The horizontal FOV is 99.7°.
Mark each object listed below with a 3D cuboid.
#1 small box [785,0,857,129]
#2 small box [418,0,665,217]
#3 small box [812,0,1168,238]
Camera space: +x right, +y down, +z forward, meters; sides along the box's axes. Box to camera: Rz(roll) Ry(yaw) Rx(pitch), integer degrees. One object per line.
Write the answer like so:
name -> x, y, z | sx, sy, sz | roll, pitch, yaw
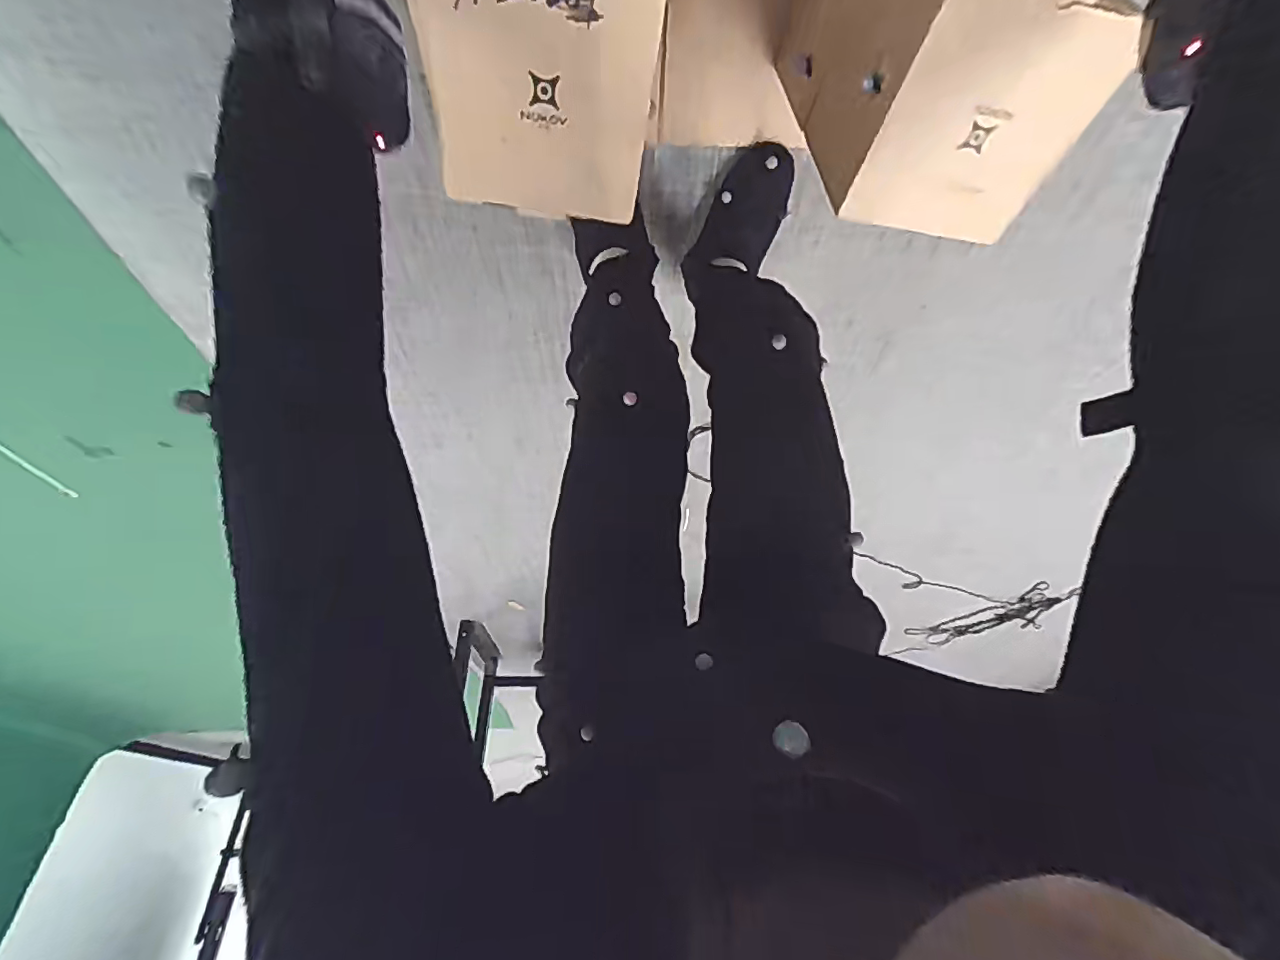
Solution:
small box -> 0.262, -0.486, 0.562 | 0.168, 0.176, 0.179 | 3, 145, -8
small box -> -0.077, -0.357, 0.450 | 0.168, 0.176, 0.179 | 4, 145, -9
small box -> 0.270, -0.350, 0.473 | 0.168, 0.176, 0.179 | 6, 146, -9
